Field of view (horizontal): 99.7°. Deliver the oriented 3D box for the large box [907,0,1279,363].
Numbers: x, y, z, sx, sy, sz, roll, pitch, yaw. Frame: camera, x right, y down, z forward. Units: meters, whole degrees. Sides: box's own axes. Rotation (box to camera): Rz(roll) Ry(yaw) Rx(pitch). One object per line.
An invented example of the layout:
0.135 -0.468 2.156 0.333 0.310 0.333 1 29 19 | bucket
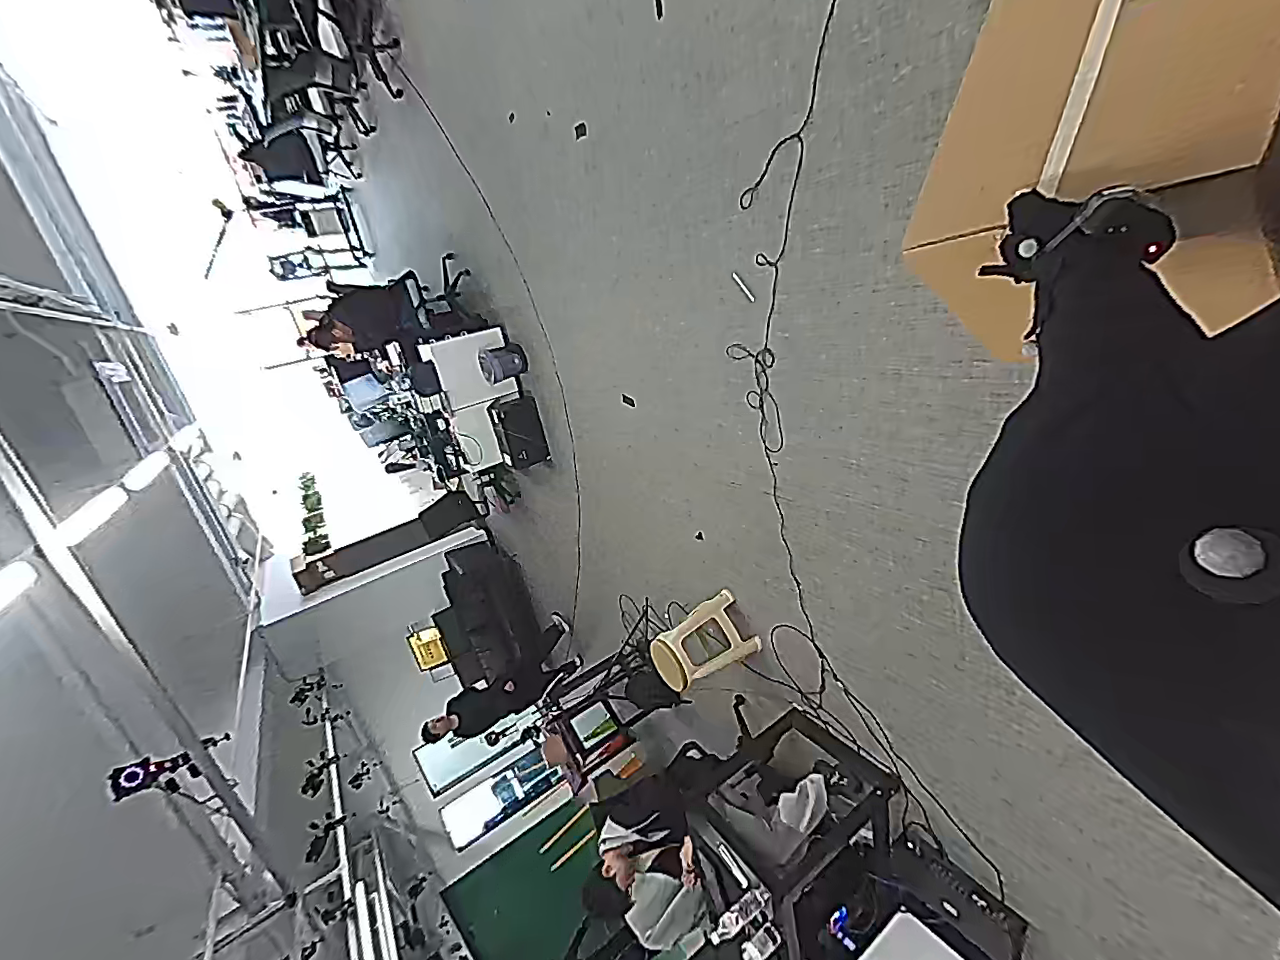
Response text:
0.608 -0.399 0.662 0.320 0.320 0.408 16 82 58 | large box
